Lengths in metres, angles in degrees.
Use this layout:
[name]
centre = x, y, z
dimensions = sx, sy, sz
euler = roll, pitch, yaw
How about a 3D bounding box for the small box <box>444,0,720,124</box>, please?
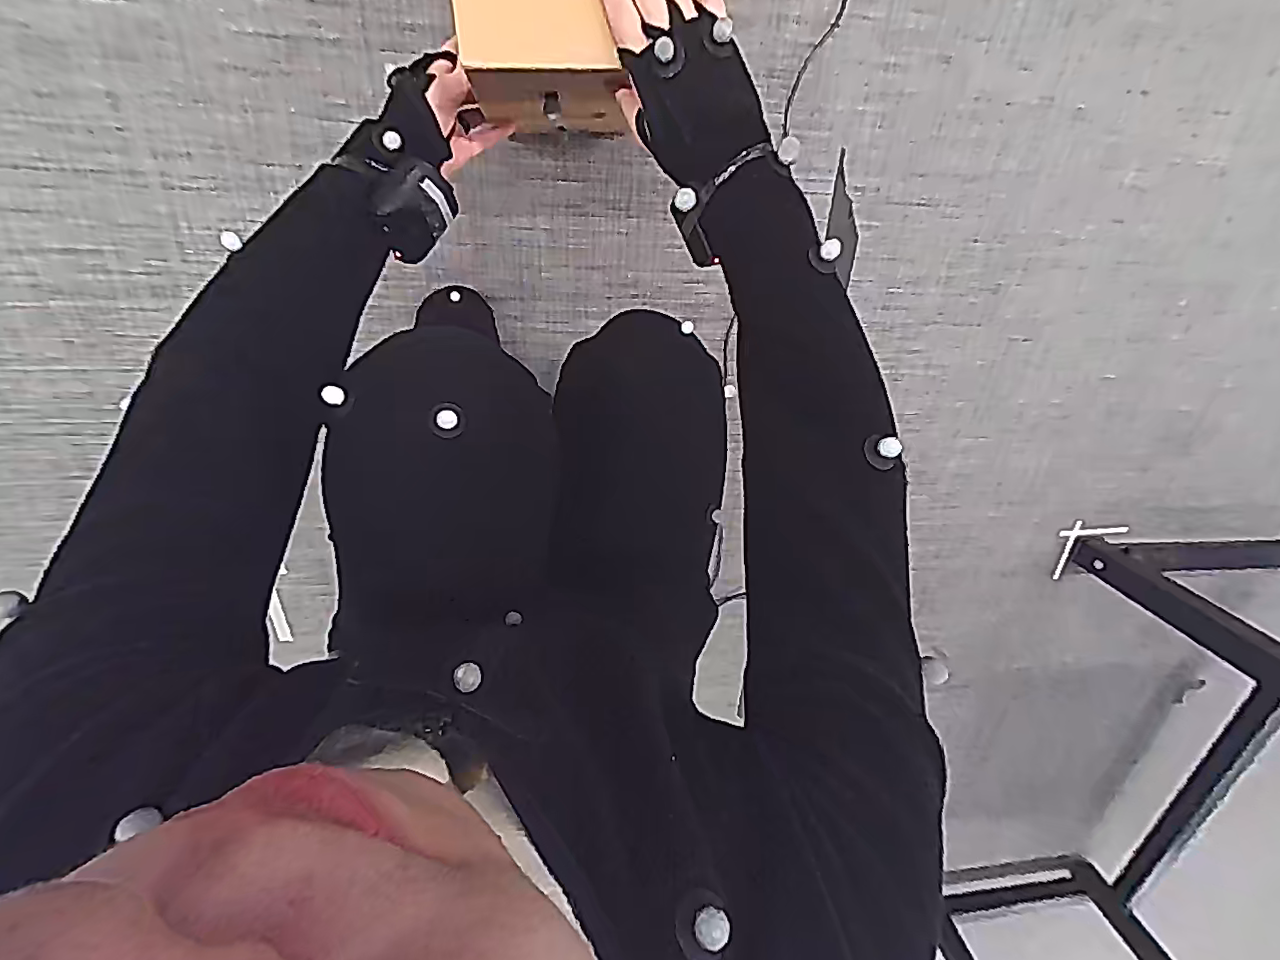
[small box]
centre = -0.044, -0.388, 0.367
dimensions = 0.179, 0.176, 0.168
euler = -4, 94, 11
